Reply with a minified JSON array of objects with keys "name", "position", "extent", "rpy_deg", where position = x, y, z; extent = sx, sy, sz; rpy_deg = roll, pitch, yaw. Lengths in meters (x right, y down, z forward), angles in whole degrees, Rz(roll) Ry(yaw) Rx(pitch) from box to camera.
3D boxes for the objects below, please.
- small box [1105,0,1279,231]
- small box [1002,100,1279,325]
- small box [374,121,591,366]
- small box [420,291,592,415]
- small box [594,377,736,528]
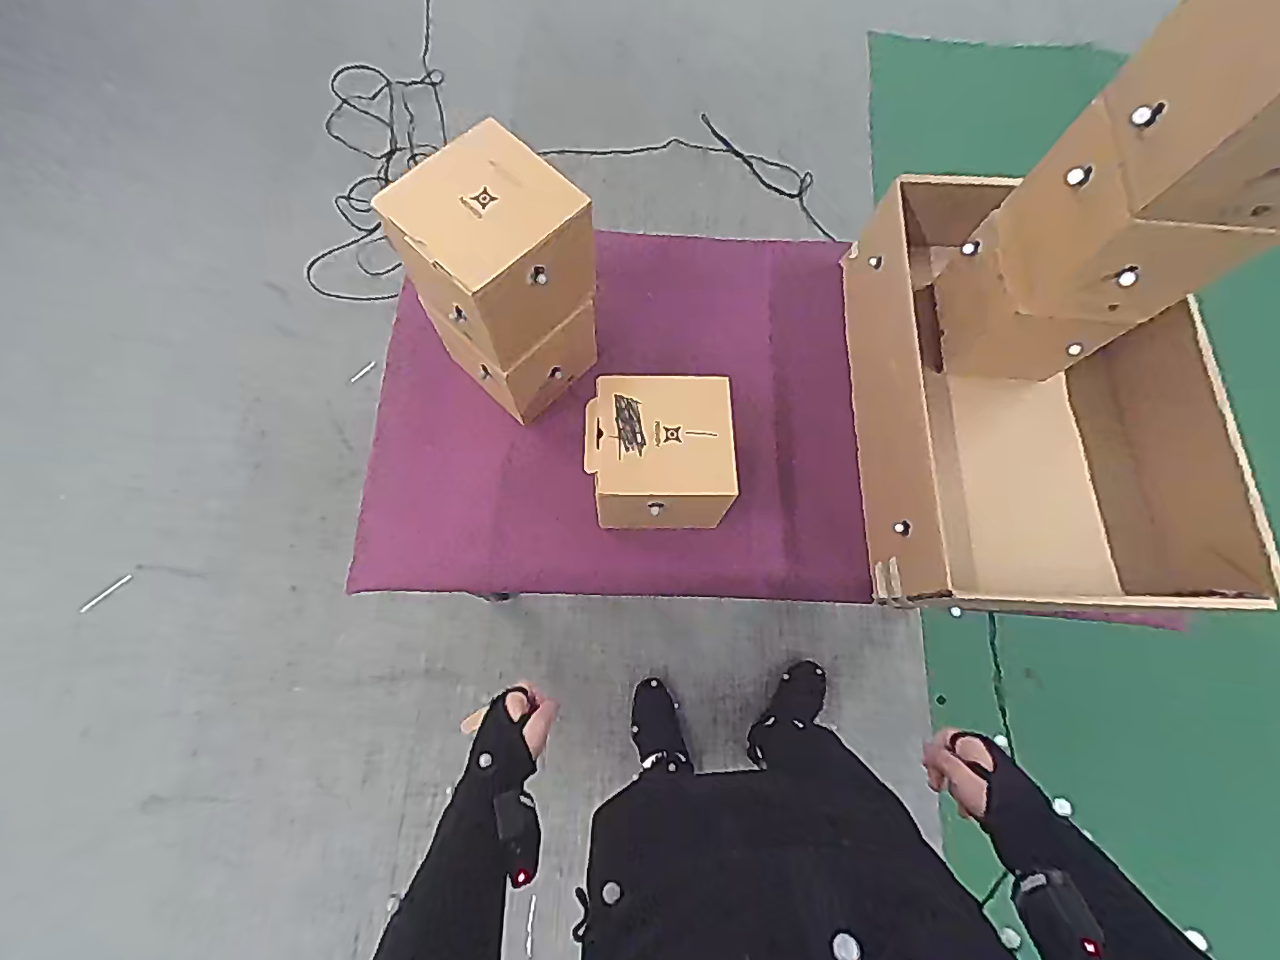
[{"name":"small box","position":[0.576,-0.353,0.486],"extent":[0.168,0.176,0.179],"rpy_deg":[4,74,0]},{"name":"small box","position":[0.571,-0.305,0.643],"extent":[0.168,0.176,0.179],"rpy_deg":[4,73,0]},{"name":"small box","position":[-0.171,-0.273,0.656],"extent":[0.168,0.176,0.179],"rpy_deg":[43,75,9]},{"name":"small box","position":[-0.185,-0.220,0.810],"extent":[0.179,0.176,0.168],"rpy_deg":[43,75,10]},{"name":"small box","position":[0.028,-0.030,0.757],"extent":[0.179,0.176,0.168],"rpy_deg":[0,71,-3]}]
